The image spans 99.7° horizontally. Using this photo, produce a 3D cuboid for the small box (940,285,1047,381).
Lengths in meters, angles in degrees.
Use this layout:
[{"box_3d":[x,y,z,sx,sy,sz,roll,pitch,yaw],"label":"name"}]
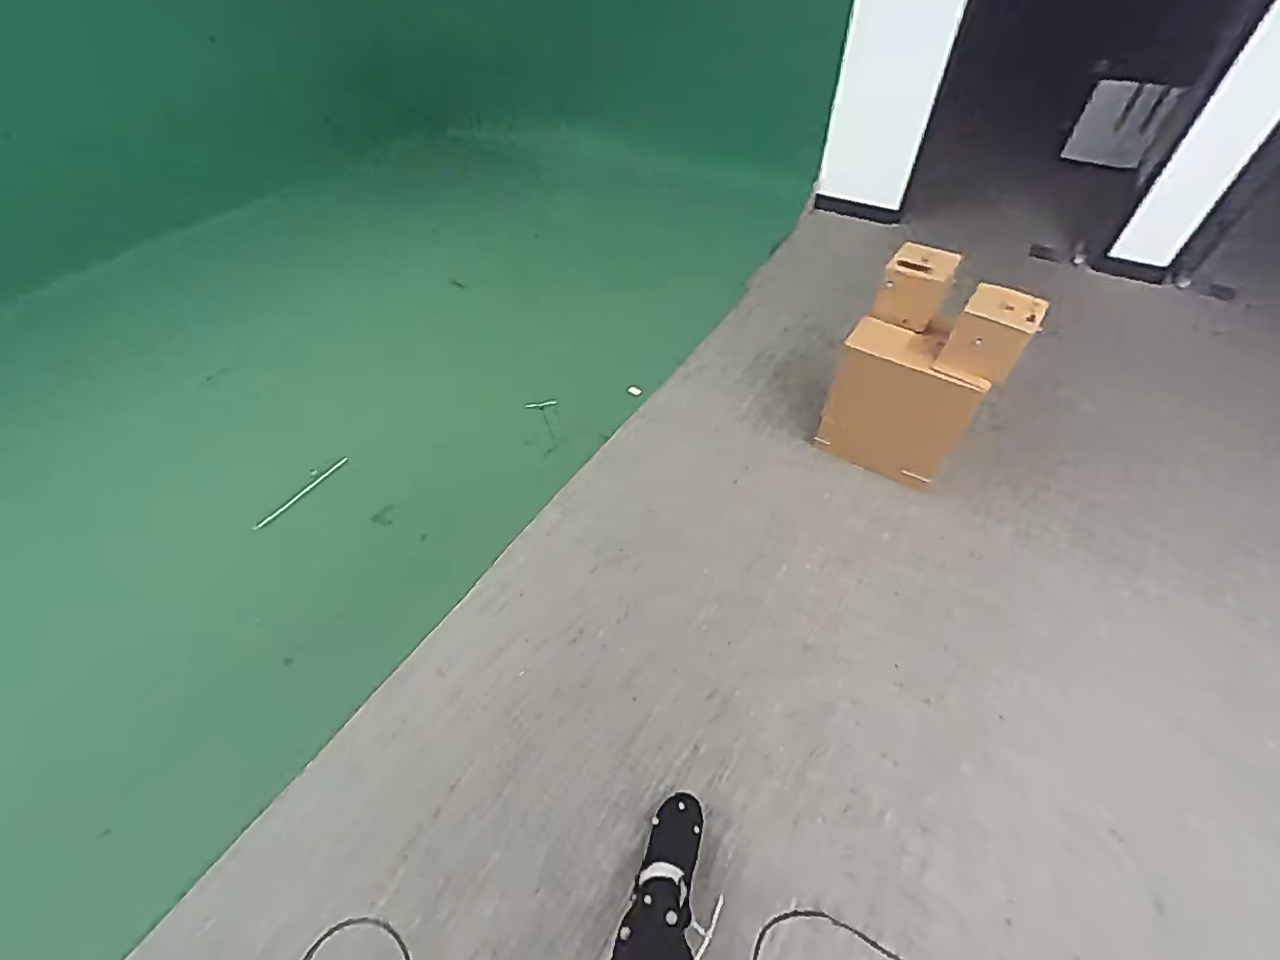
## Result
[{"box_3d":[0.956,-0.400,1.478,0.179,0.176,0.168,29,60,24],"label":"small box"}]
